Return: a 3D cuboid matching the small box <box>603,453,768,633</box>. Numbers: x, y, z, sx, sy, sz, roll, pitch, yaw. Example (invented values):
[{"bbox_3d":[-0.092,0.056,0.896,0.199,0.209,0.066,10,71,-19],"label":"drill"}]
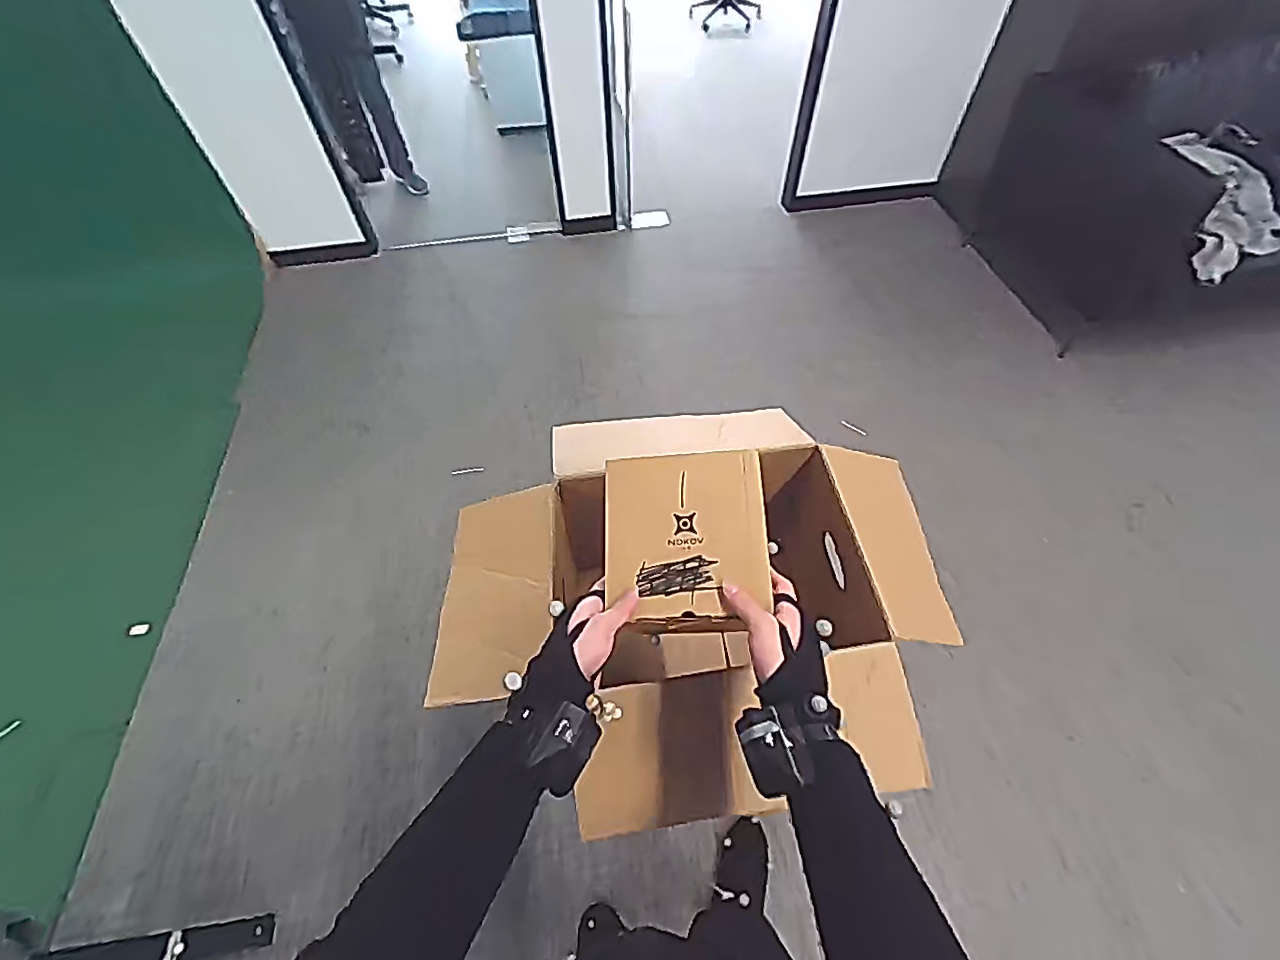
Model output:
[{"bbox_3d":[0.055,0.084,0.630,0.168,0.176,0.179,-3,69,7],"label":"small box"}]
